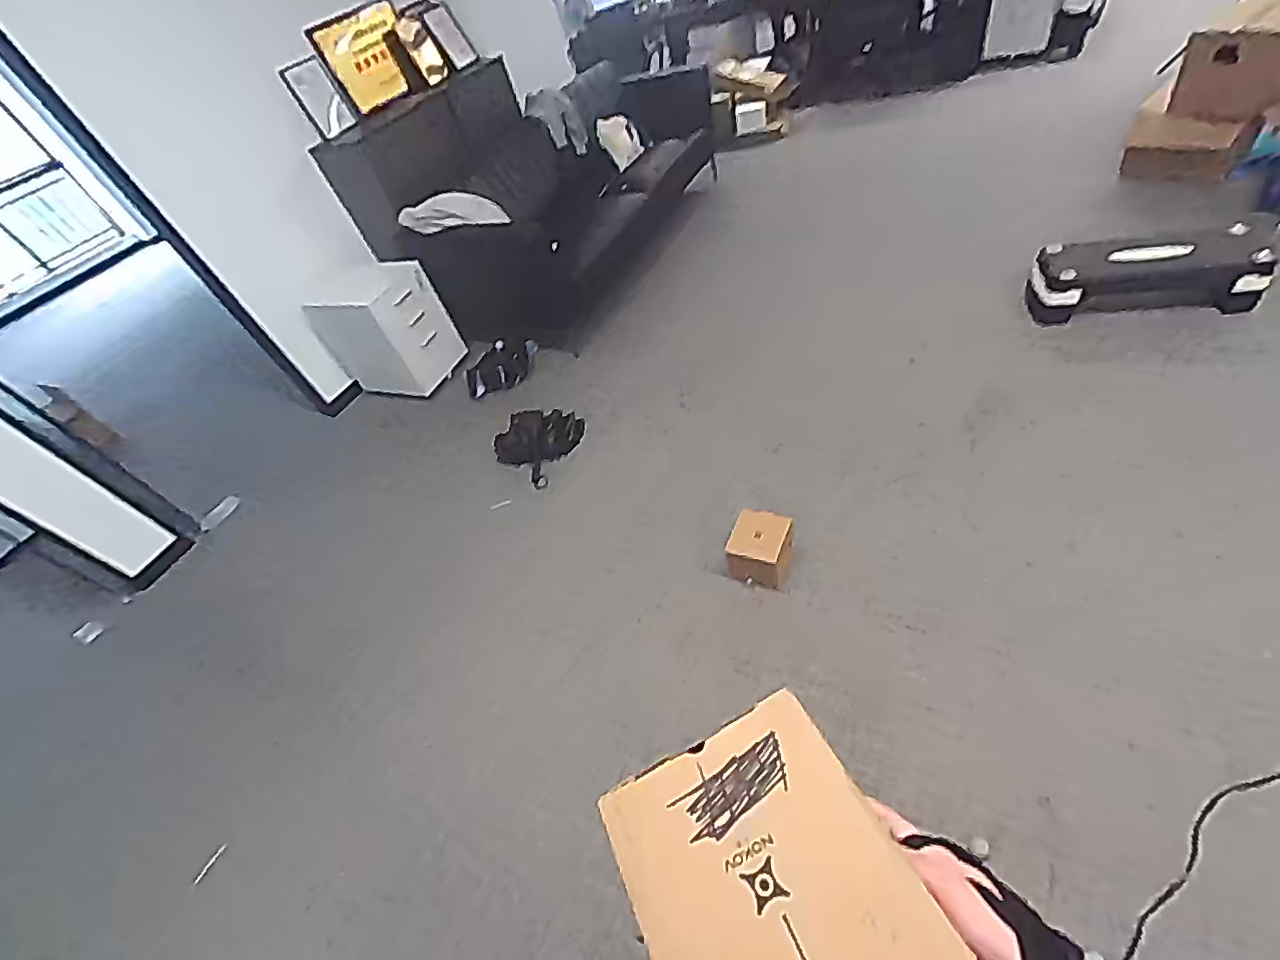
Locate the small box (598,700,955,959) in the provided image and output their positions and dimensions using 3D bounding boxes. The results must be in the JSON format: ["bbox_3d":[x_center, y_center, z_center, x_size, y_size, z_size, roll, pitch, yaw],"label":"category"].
[{"bbox_3d":[0.090,0.306,0.399,0.168,0.176,0.179,-27,46,-6],"label":"small box"}]

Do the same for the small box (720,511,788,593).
[{"bbox_3d":[0.374,0.232,1.740,0.168,0.176,0.179,11,54,28],"label":"small box"}]
